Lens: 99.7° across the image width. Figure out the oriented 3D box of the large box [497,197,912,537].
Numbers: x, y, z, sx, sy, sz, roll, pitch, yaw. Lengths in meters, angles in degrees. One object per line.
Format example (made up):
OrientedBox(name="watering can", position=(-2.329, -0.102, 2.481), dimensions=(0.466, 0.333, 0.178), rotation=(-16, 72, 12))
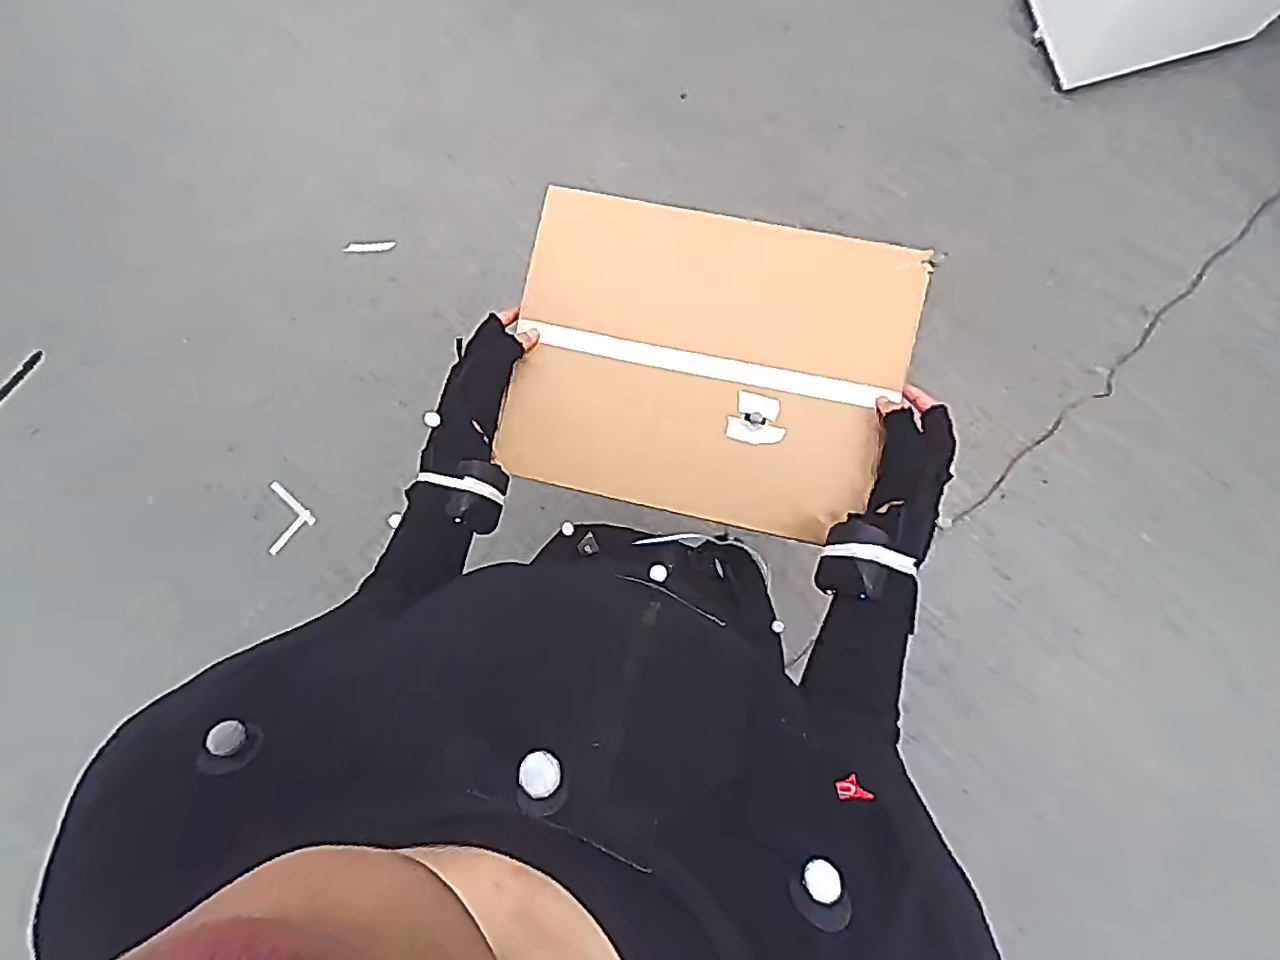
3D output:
OrientedBox(name="large box", position=(0.072, -0.126, 0.729), dimensions=(0.408, 0.320, 0.320), rotation=(12, 92, 5))
